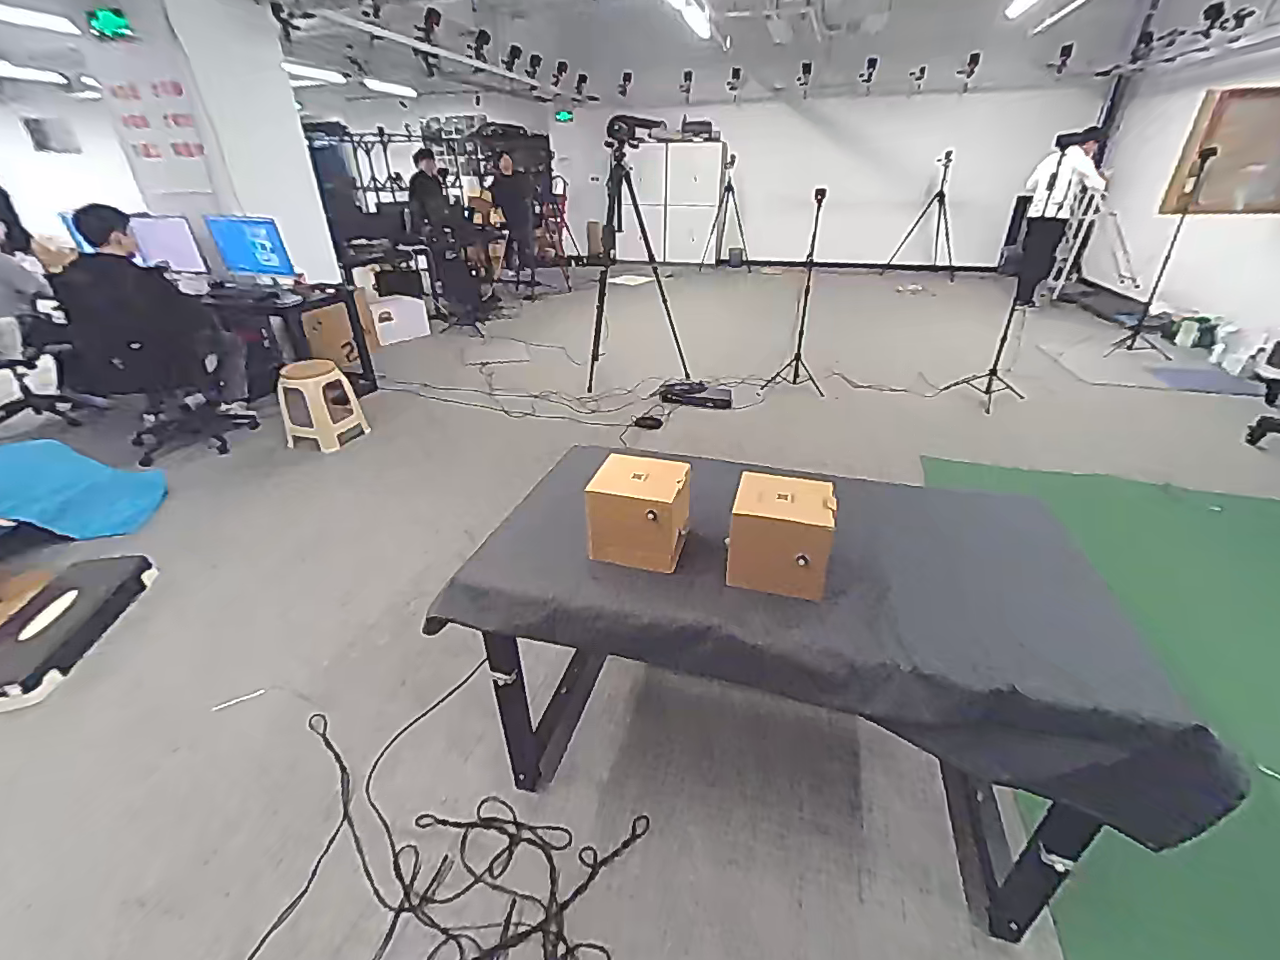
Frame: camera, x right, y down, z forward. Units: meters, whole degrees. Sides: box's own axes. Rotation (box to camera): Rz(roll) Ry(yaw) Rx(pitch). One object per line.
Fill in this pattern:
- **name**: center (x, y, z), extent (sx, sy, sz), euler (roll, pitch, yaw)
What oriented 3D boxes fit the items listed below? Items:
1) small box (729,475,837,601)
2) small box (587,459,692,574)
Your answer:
- **small box**: center (0.271, 0.109, 1.031), extent (0.179, 0.176, 0.168), euler (6, 28, 16)
- **small box**: center (0.004, 0.073, 1.108), extent (0.179, 0.176, 0.168), euler (7, 30, 14)
